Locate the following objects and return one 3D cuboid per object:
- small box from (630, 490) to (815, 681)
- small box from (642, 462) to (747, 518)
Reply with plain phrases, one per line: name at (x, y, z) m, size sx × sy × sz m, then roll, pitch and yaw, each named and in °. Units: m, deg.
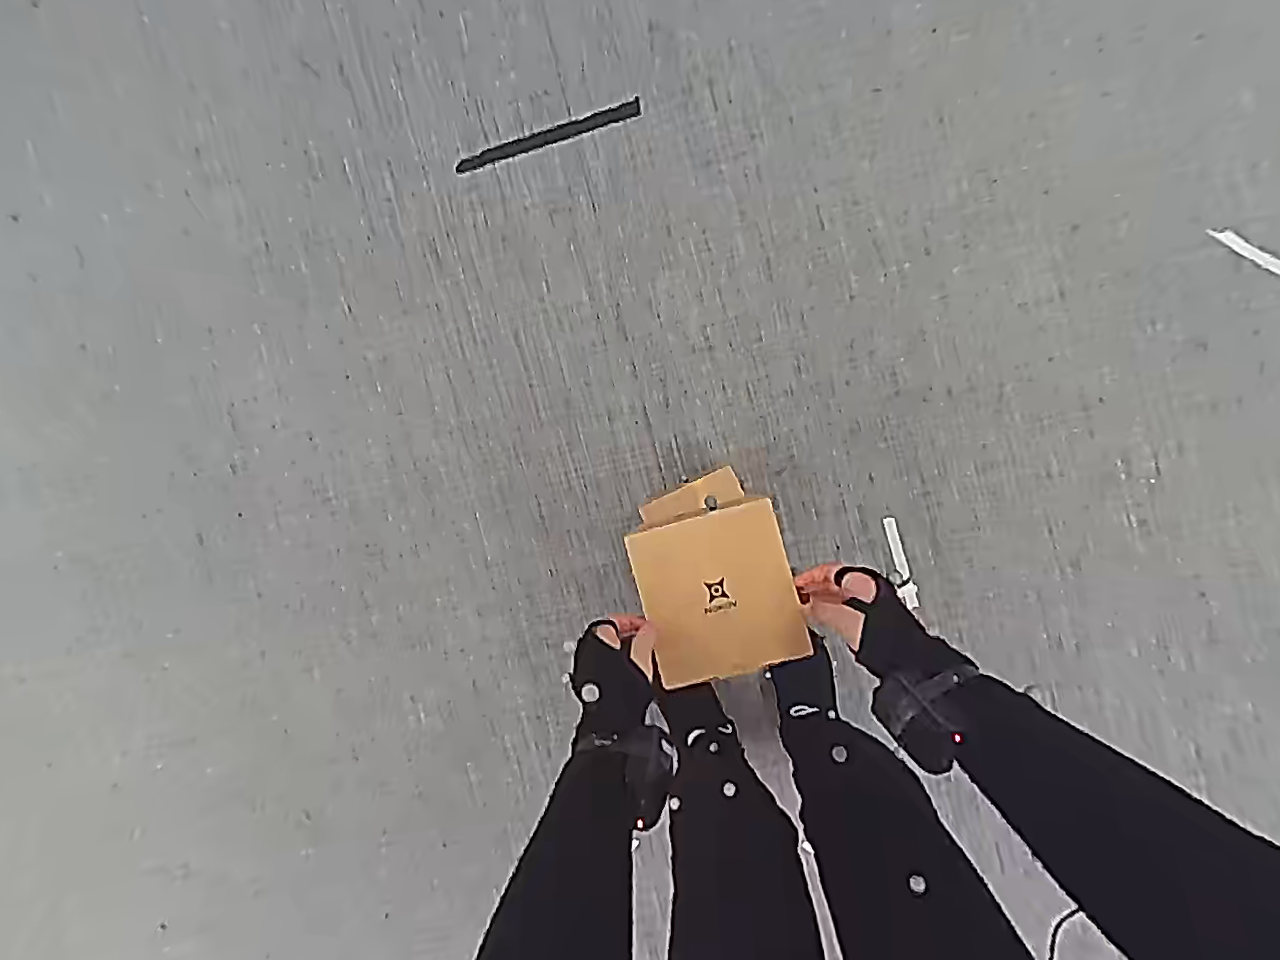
small box at (0.092, 0.116, 0.661) m, size 0.168 × 0.176 × 0.179 m, roll -16°, pitch 90°, yaw 5°
small box at (0.115, 0.081, 0.936) m, size 0.168 × 0.176 × 0.179 m, roll -25°, pitch 90°, yaw 6°
